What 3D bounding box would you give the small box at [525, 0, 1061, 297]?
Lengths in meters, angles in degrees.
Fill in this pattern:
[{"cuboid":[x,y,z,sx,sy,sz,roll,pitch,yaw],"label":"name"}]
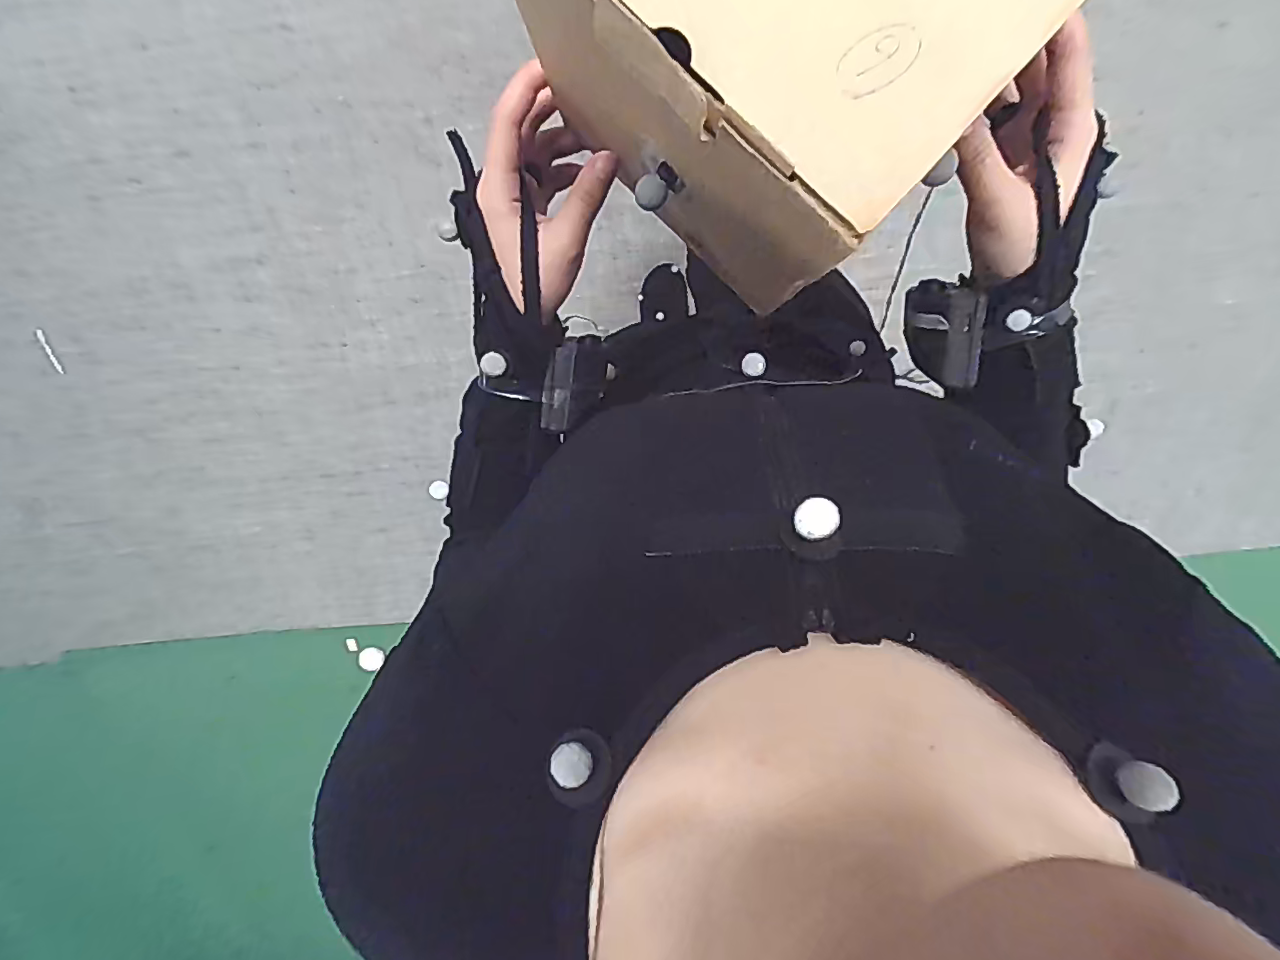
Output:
[{"cuboid":[0.069,-0.209,0.243,0.168,0.176,0.179,41,99,-4],"label":"small box"}]
